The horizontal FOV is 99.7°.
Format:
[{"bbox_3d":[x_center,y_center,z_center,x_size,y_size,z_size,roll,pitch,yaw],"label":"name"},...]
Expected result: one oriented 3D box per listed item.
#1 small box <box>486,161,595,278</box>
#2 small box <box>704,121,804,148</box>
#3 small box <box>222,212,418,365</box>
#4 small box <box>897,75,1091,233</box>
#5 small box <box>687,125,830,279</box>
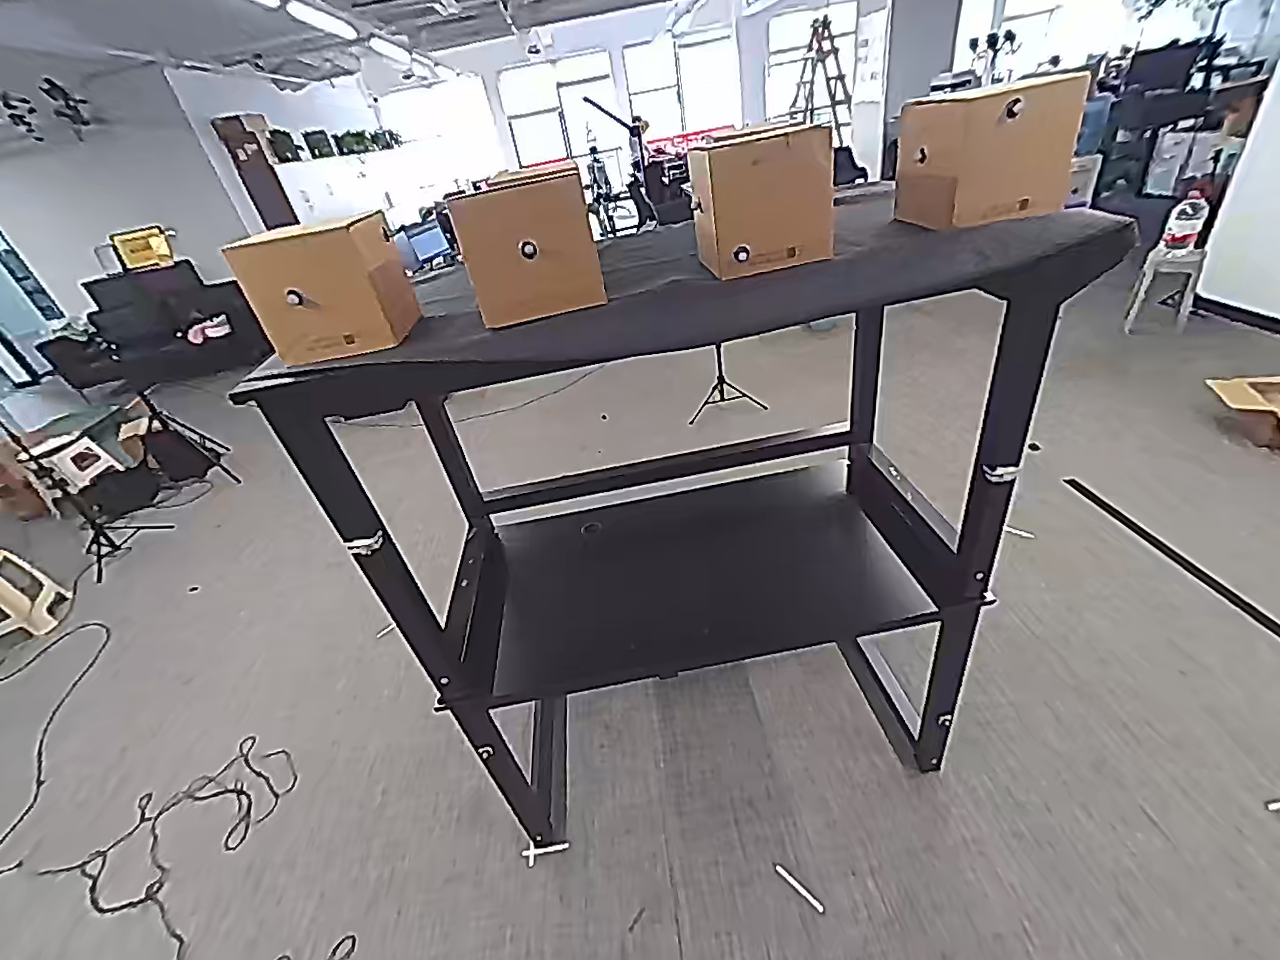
[{"bbox_3d":[-0.184,-0.501,1.048,0.168,0.176,0.179,-11,34,-1],"label":"small box"},{"bbox_3d":[0.220,-0.585,1.057,0.168,0.176,0.179,-7,33,4],"label":"small box"},{"bbox_3d":[-0.451,-0.280,0.800,0.168,0.176,0.179,-12,33,-2],"label":"small box"},{"bbox_3d":[0.506,-0.478,0.807,0.168,0.176,0.179,-12,32,1],"label":"small box"},{"bbox_3d":[0.173,-0.408,0.802,0.168,0.176,0.179,-11,31,1],"label":"small box"}]
